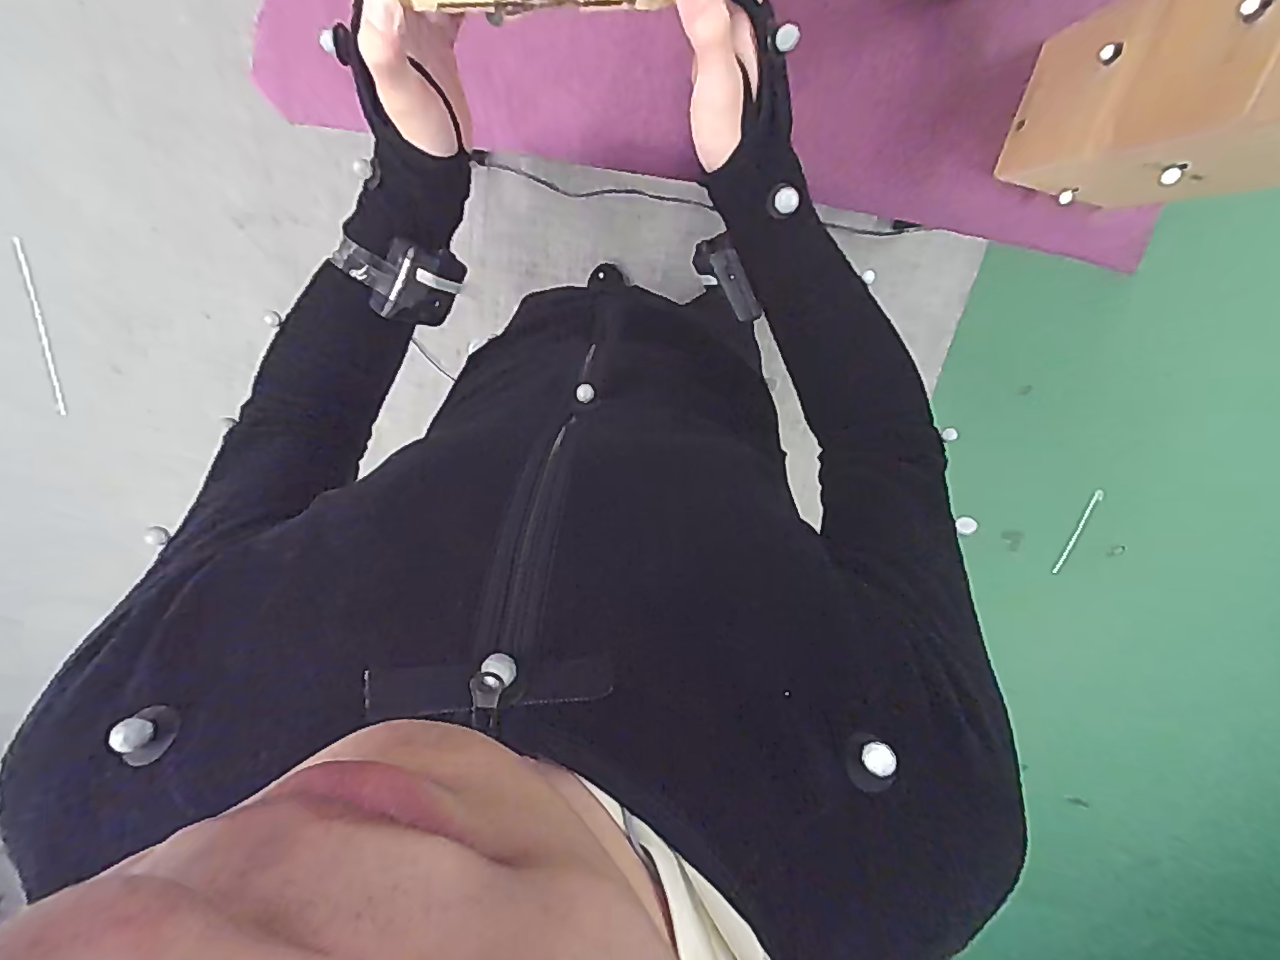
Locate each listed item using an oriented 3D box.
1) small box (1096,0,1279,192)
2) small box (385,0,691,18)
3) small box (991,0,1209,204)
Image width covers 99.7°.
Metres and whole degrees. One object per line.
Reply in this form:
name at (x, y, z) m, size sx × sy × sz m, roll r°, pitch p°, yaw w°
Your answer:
small box at (0.590, -0.389, 0.501) m, size 0.168 × 0.176 × 0.179 m, roll 11°, pitch 111°, yaw -4°
small box at (-0.053, -0.362, 0.281) m, size 0.168 × 0.176 × 0.179 m, roll -1°, pitch 133°, yaw 0°
small box at (0.584, -0.446, 0.655) m, size 0.179 × 0.176 × 0.168 m, roll 11°, pitch 110°, yaw -6°
